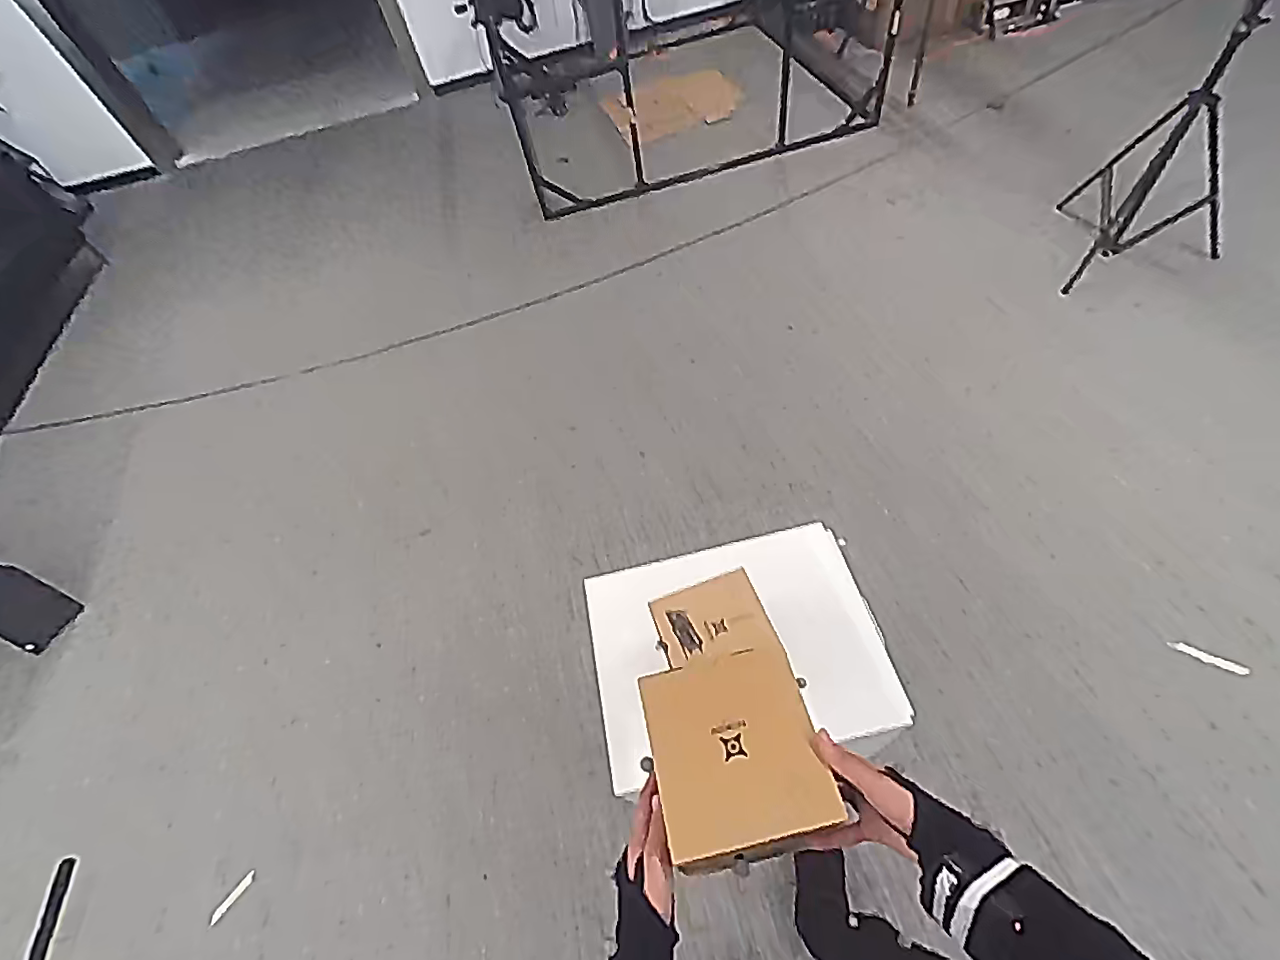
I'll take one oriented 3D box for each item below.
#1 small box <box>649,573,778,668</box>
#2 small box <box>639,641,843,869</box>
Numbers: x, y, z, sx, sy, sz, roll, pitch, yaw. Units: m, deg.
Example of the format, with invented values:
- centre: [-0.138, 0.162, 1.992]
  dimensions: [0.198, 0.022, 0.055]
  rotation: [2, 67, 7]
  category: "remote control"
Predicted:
- centre: [0.131, 0.290, 0.923]
  dimensions: [0.179, 0.176, 0.168]
  rotation: [-20, 54, -4]
  category: "small box"
- centre: [0.106, 0.311, 0.602]
  dimensions: [0.168, 0.176, 0.179]
  rotation: [-14, 48, 0]
  category: "small box"
